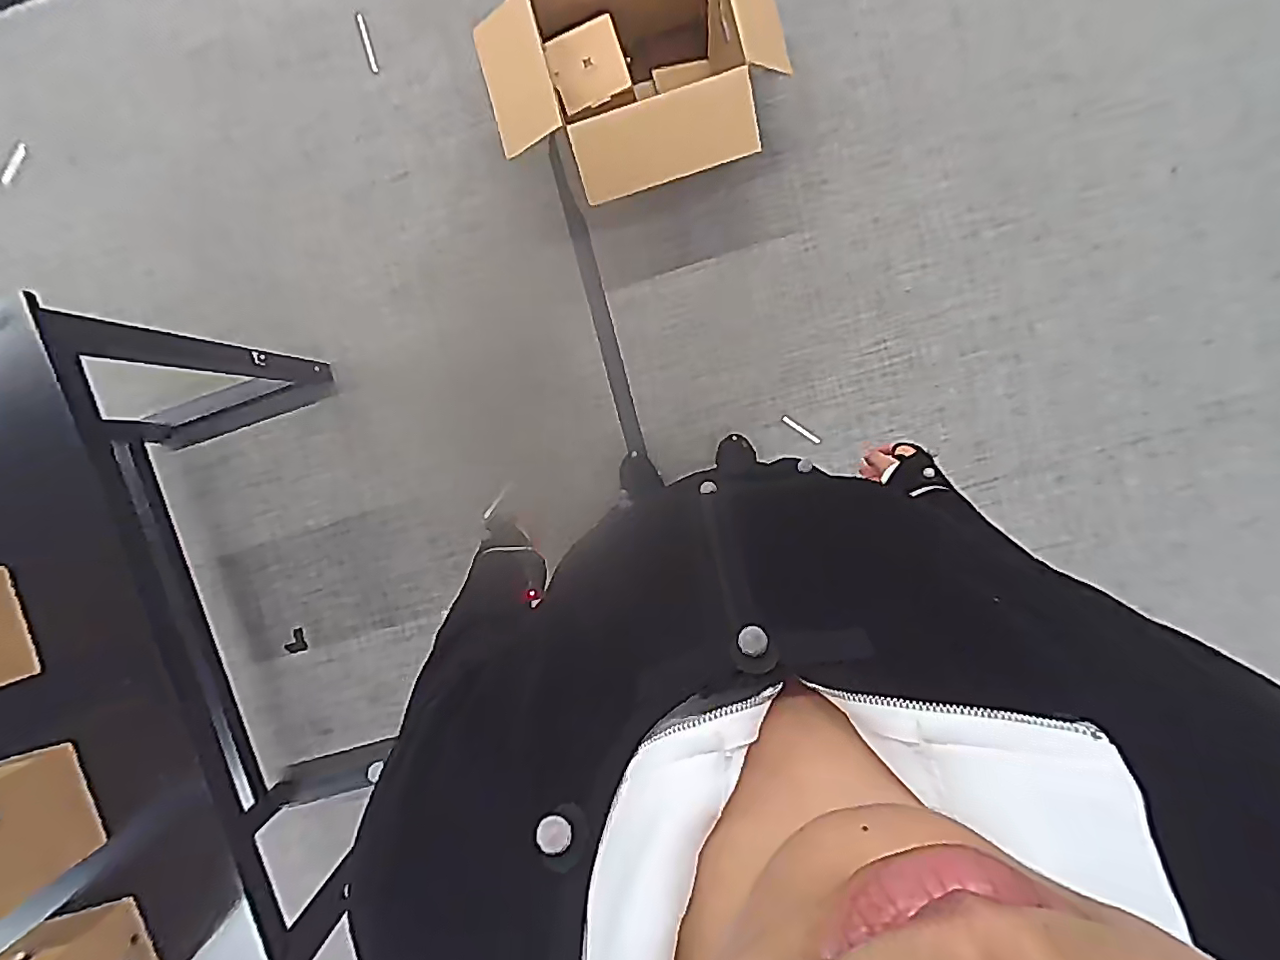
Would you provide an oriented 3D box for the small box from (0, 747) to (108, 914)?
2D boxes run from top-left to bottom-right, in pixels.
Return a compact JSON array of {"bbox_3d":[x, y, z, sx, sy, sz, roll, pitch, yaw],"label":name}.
[{"bbox_3d":[-0.959,0.521,0.795,0.168,0.176,0.179,-17,94,5],"label":"small box"}]

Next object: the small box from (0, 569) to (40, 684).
[{"bbox_3d":[-1.044,0.242,0.777,0.168,0.176,0.179,-15,95,5],"label":"small box"}]

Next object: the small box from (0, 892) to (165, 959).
[{"bbox_3d":[-0.880,0.776,0.812,0.179,0.176,0.168,-18,94,4],"label":"small box"}]
